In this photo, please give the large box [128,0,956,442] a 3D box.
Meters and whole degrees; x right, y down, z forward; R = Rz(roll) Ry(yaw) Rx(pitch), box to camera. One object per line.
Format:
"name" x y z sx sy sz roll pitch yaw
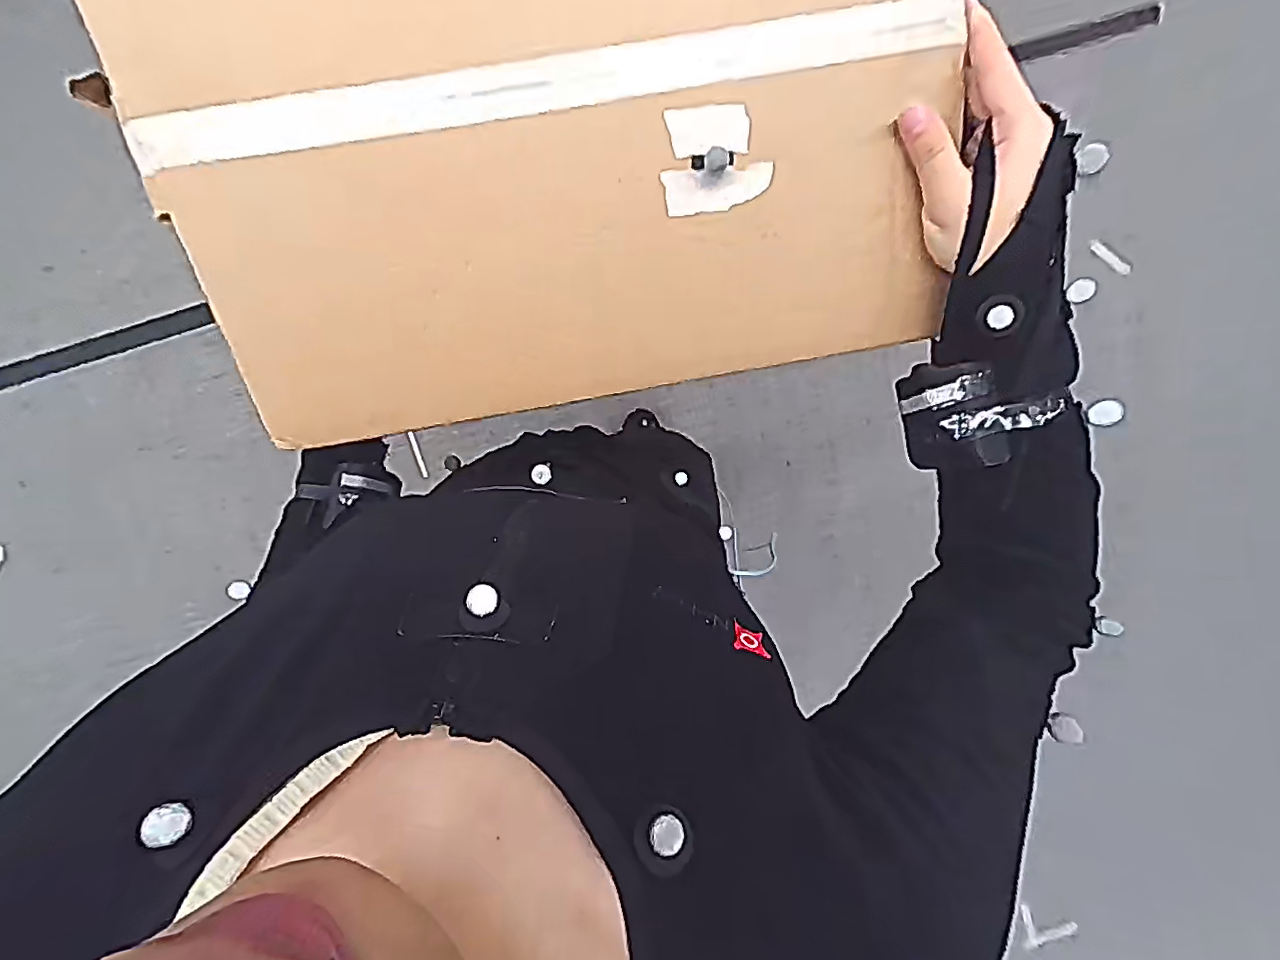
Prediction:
"large box" -0.048 -0.250 0.414 0.408 0.320 0.320 -11 112 -4
